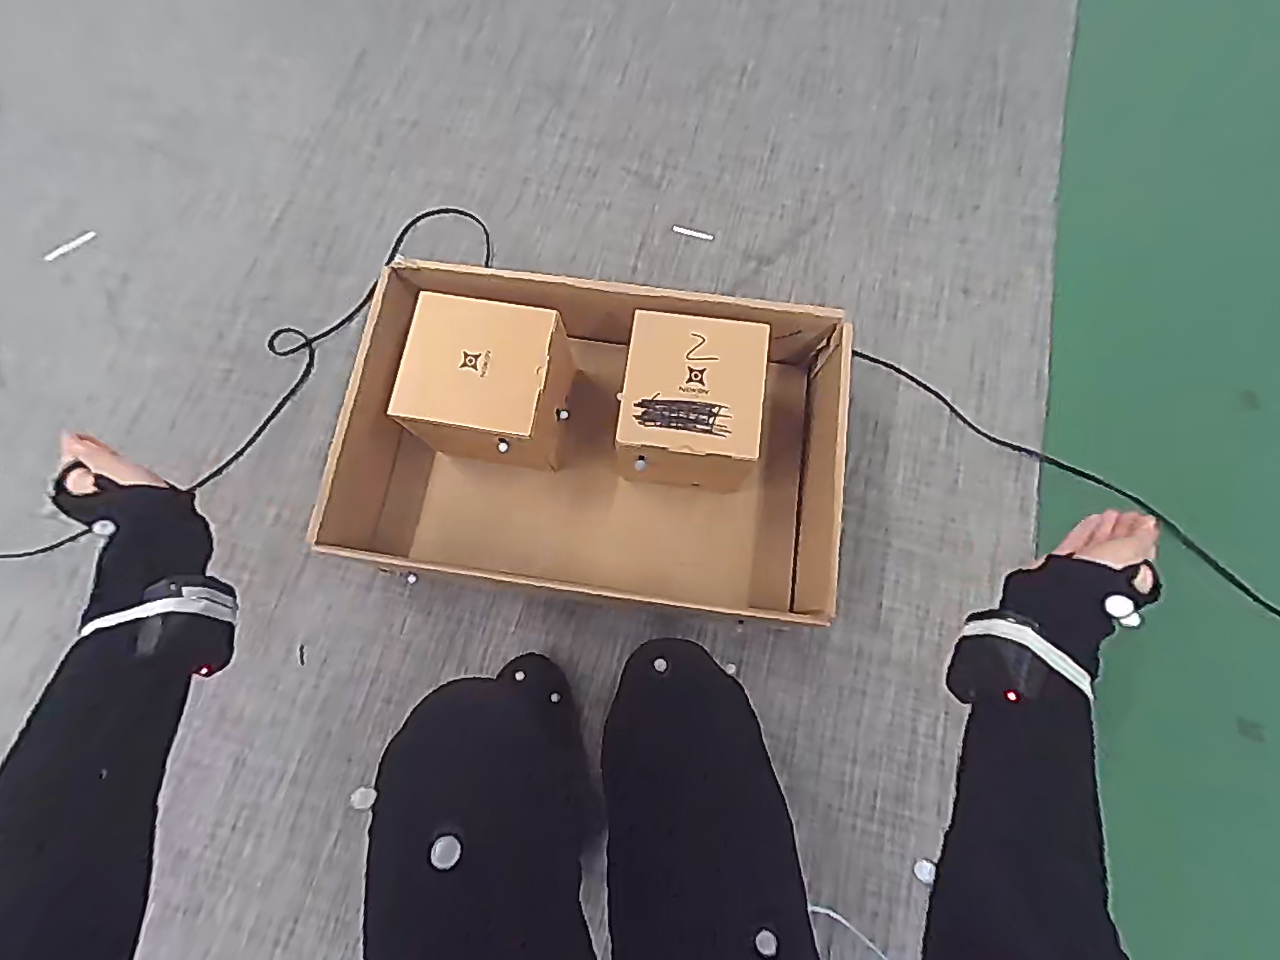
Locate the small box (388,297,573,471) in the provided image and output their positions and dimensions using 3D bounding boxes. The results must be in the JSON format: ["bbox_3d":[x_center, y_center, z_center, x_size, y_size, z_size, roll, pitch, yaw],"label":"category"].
[{"bbox_3d":[-0.198,-0.118,0.726,0.179,0.176,0.168,9,77,2],"label":"small box"}]
